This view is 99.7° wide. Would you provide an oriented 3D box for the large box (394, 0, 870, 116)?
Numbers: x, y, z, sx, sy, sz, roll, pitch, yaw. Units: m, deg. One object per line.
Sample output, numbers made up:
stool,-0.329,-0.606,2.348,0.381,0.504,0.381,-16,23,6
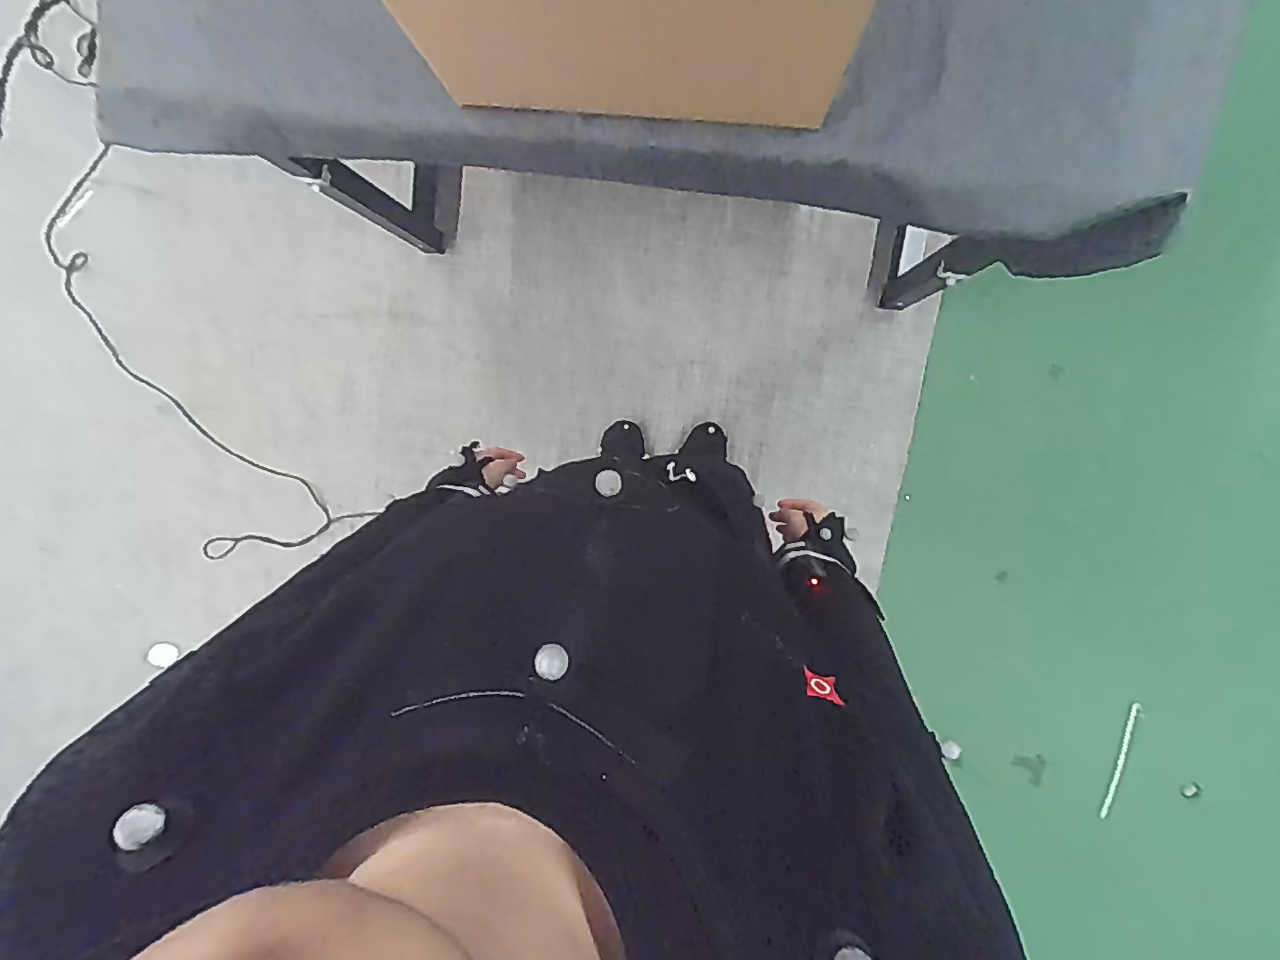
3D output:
large box,-0.004,-0.537,0.424,0.408,0.320,0.320,6,97,4
